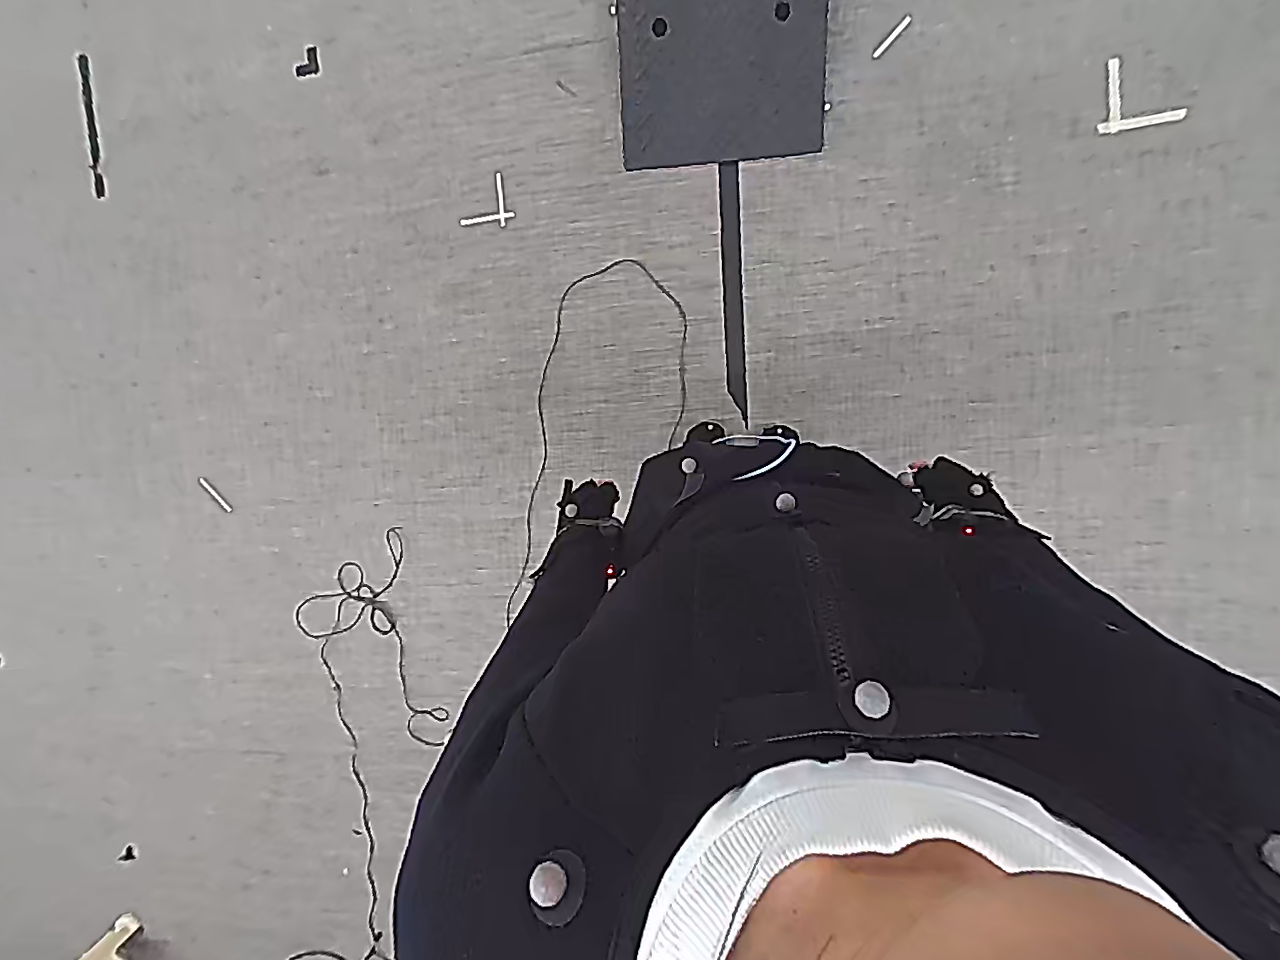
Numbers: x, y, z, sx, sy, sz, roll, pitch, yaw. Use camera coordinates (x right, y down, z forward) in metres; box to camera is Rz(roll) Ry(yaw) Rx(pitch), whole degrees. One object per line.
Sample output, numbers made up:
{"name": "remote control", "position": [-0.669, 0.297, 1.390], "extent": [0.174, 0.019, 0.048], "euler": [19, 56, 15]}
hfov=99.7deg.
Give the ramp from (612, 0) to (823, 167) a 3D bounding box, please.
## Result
{"name": "ramp", "position": [0.167, -1.281, 1.210], "extent": [0.509, 0.206, 0.991], "euler": [-2, 97, 8]}
